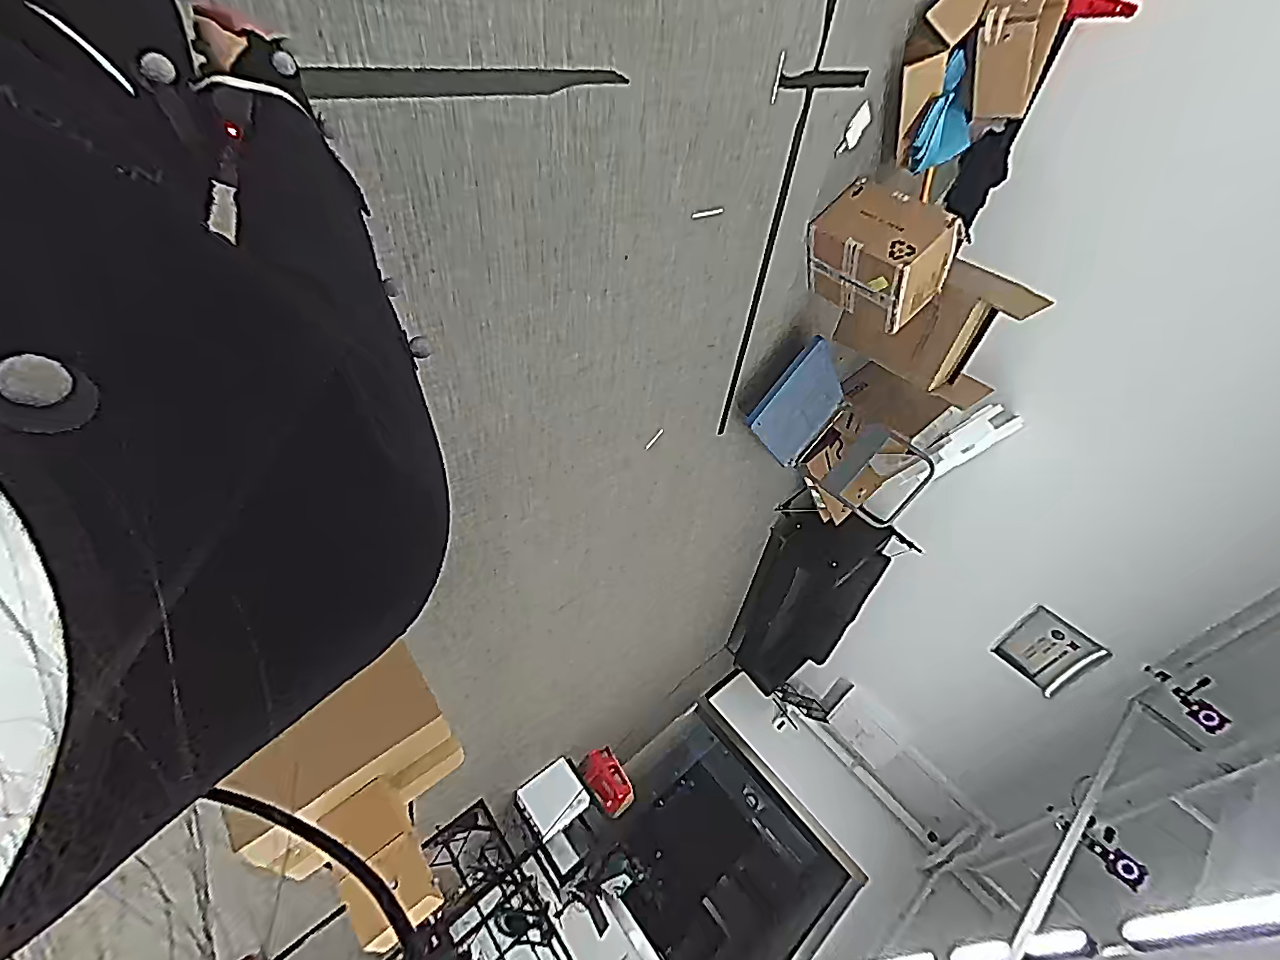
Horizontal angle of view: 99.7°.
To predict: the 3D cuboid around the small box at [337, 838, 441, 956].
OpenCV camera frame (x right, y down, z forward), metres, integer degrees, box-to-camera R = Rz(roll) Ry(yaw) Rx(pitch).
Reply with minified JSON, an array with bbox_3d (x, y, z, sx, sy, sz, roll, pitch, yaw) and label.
[{"bbox_3d":[-0.636,1.053,1.372,0.168,0.176,0.179,-30,147,-28],"label":"small box"}]
